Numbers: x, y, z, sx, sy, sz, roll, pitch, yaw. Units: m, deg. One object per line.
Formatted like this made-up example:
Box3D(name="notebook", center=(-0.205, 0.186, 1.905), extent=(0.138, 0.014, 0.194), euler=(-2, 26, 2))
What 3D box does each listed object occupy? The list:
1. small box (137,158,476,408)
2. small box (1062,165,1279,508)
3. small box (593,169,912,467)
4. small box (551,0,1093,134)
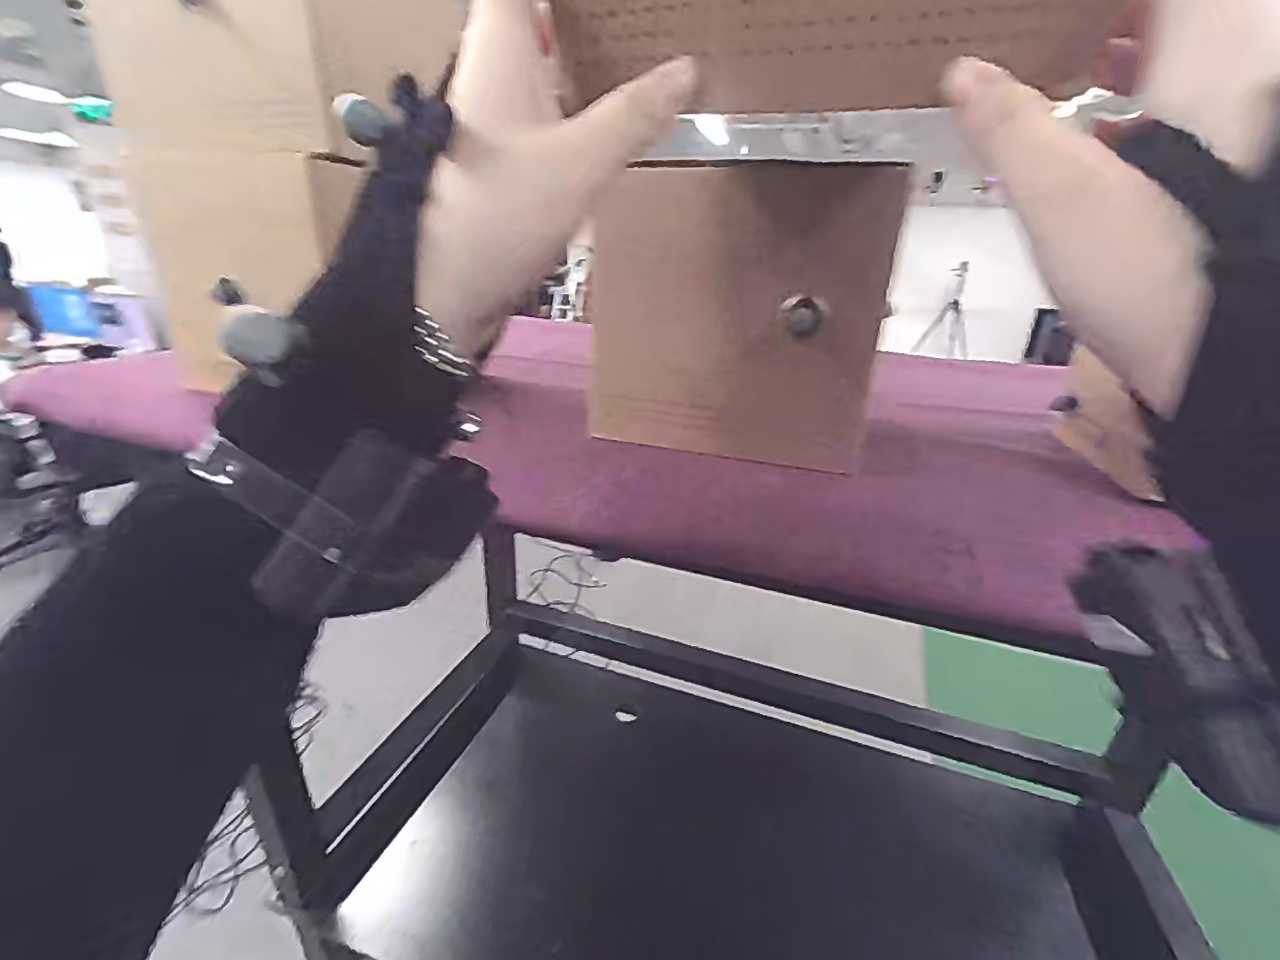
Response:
Box3D(name="small box", center=(-0.255, -0.166, 0.463), extent=(0.168, 0.176, 0.179), euler=(10, 24, 15))
Box3D(name="small box", center=(0.389, -0.076, 0.321), extent=(0.179, 0.176, 0.168), euler=(10, 21, 19))
Box3D(name="small box", center=(0.076, -0.117, 0.393), extent=(0.179, 0.176, 0.168), euler=(8, 22, 16))
Box3D(name="small box", center=(0.066, -0.234, 0.185), extent=(0.179, 0.176, 0.168), euler=(9, 48, 15))
